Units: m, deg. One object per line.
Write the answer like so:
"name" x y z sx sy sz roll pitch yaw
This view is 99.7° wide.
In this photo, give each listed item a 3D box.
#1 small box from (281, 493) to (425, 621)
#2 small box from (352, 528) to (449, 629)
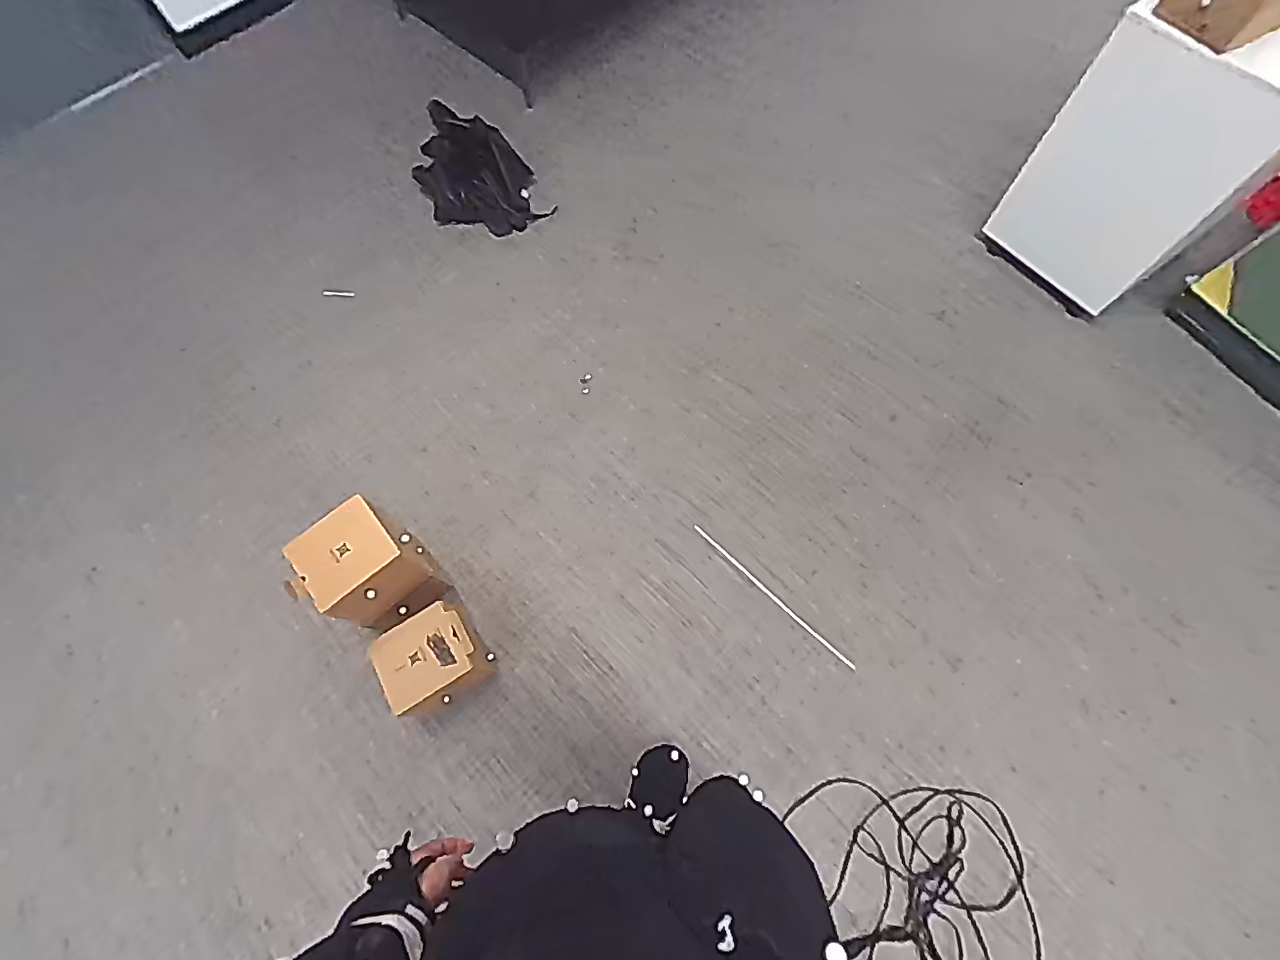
"small box" -0.565 0.162 1.097 0.179 0.176 0.168 -39 72 -12
"small box" -0.578 0.224 1.249 0.179 0.176 0.168 -39 72 -12
